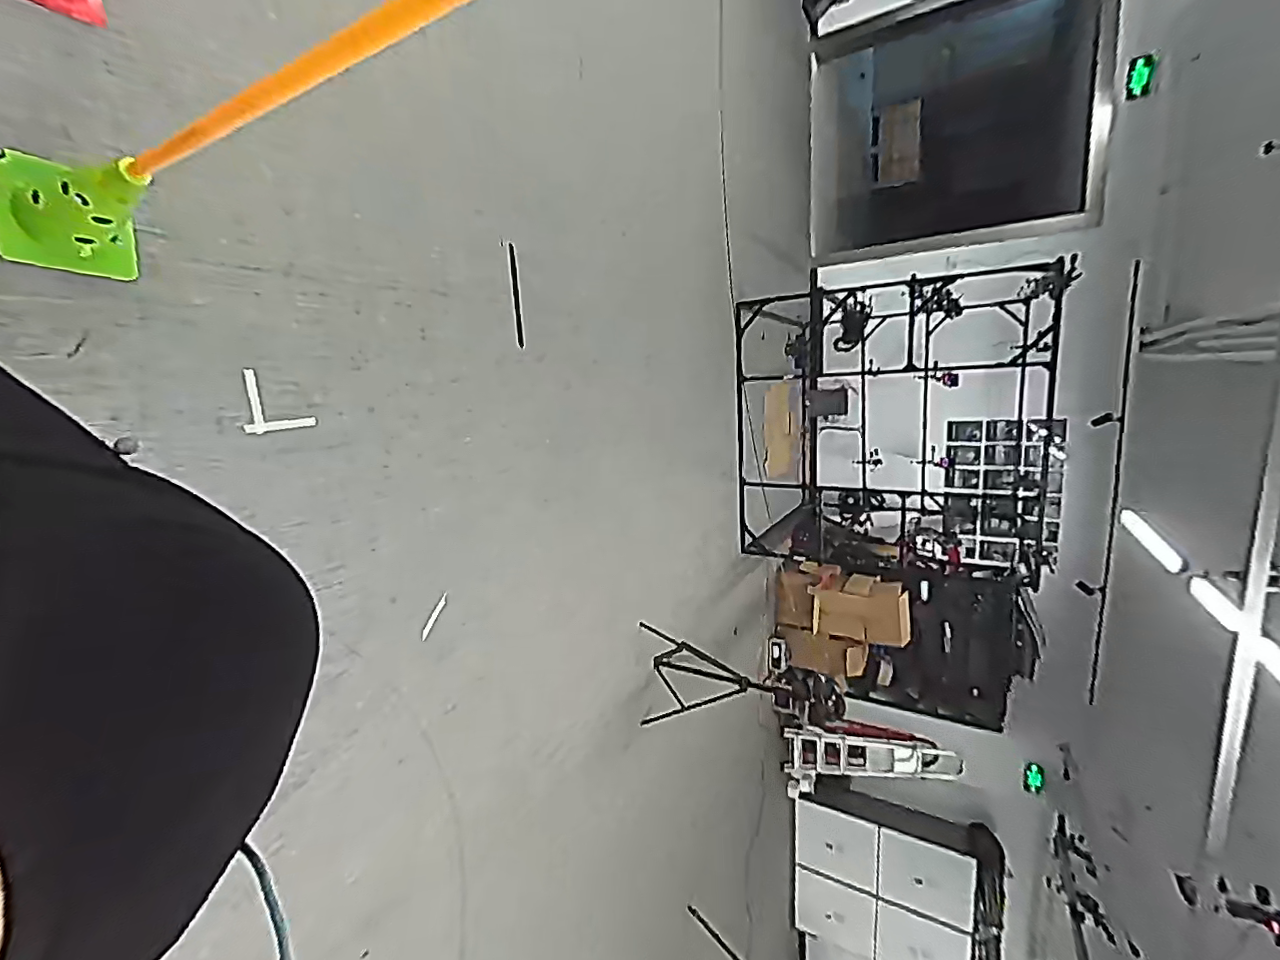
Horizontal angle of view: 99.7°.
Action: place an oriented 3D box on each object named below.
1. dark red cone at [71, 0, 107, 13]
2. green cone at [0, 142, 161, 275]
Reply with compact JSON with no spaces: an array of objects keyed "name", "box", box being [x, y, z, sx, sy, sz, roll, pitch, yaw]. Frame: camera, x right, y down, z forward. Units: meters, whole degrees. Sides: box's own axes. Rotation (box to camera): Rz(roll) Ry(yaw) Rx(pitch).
[{"name":"dark red cone","box":[-0.962,-0.991,0.893,0.201,0.394,0.202,-19,109,-60]},{"name":"green cone","box":[-0.964,-0.511,0.963,0.202,0.368,0.200,-12,102,-60]}]
